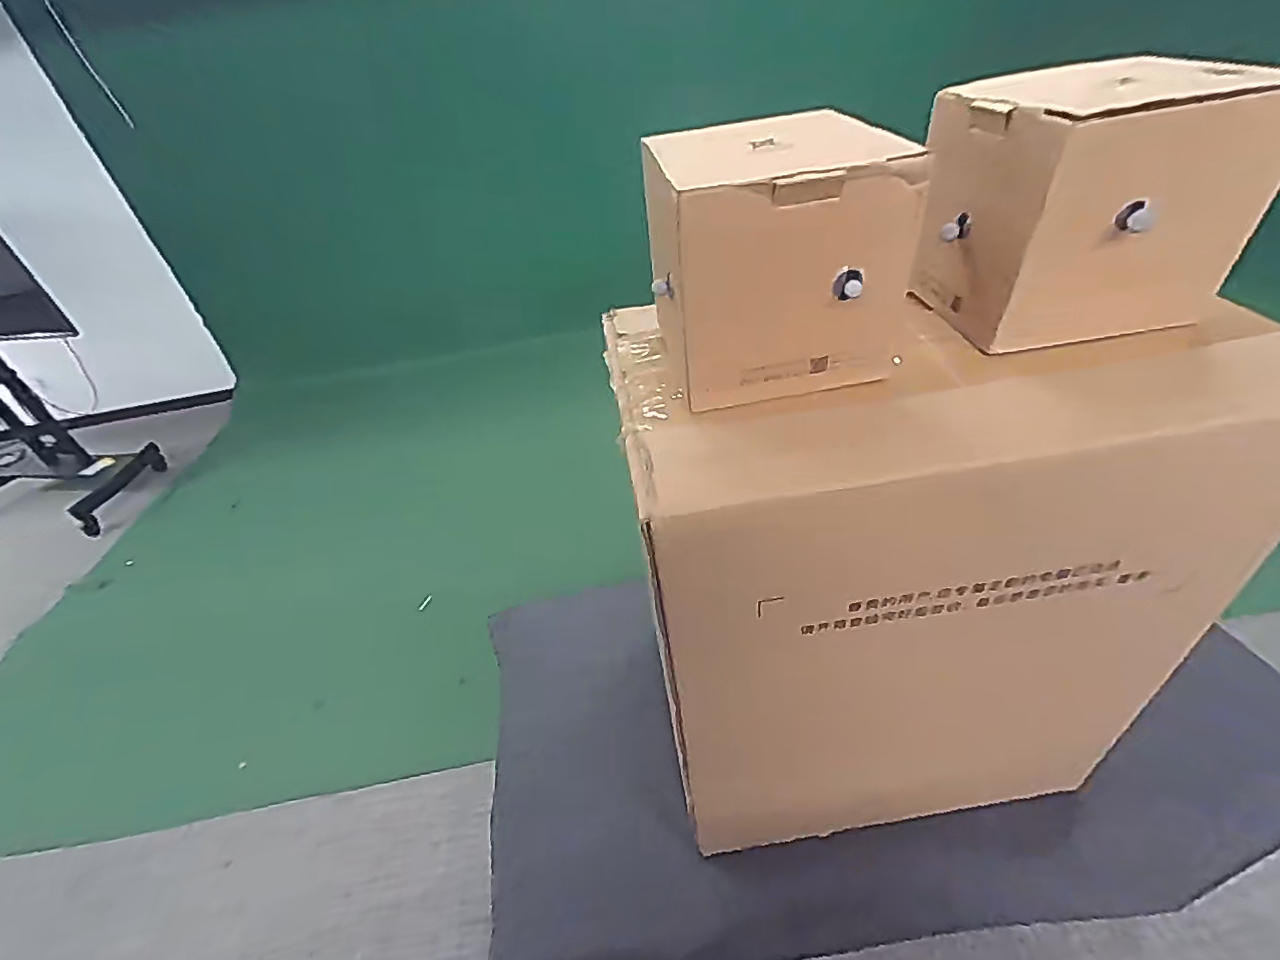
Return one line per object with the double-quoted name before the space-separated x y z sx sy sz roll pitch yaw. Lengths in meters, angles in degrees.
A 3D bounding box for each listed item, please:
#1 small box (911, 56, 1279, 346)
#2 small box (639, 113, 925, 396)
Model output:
"small box" 0.350 -0.229 0.451 0.179 0.176 0.168 -10 42 1
"small box" 0.098 -0.182 0.449 0.168 0.176 0.179 -9 41 -2
